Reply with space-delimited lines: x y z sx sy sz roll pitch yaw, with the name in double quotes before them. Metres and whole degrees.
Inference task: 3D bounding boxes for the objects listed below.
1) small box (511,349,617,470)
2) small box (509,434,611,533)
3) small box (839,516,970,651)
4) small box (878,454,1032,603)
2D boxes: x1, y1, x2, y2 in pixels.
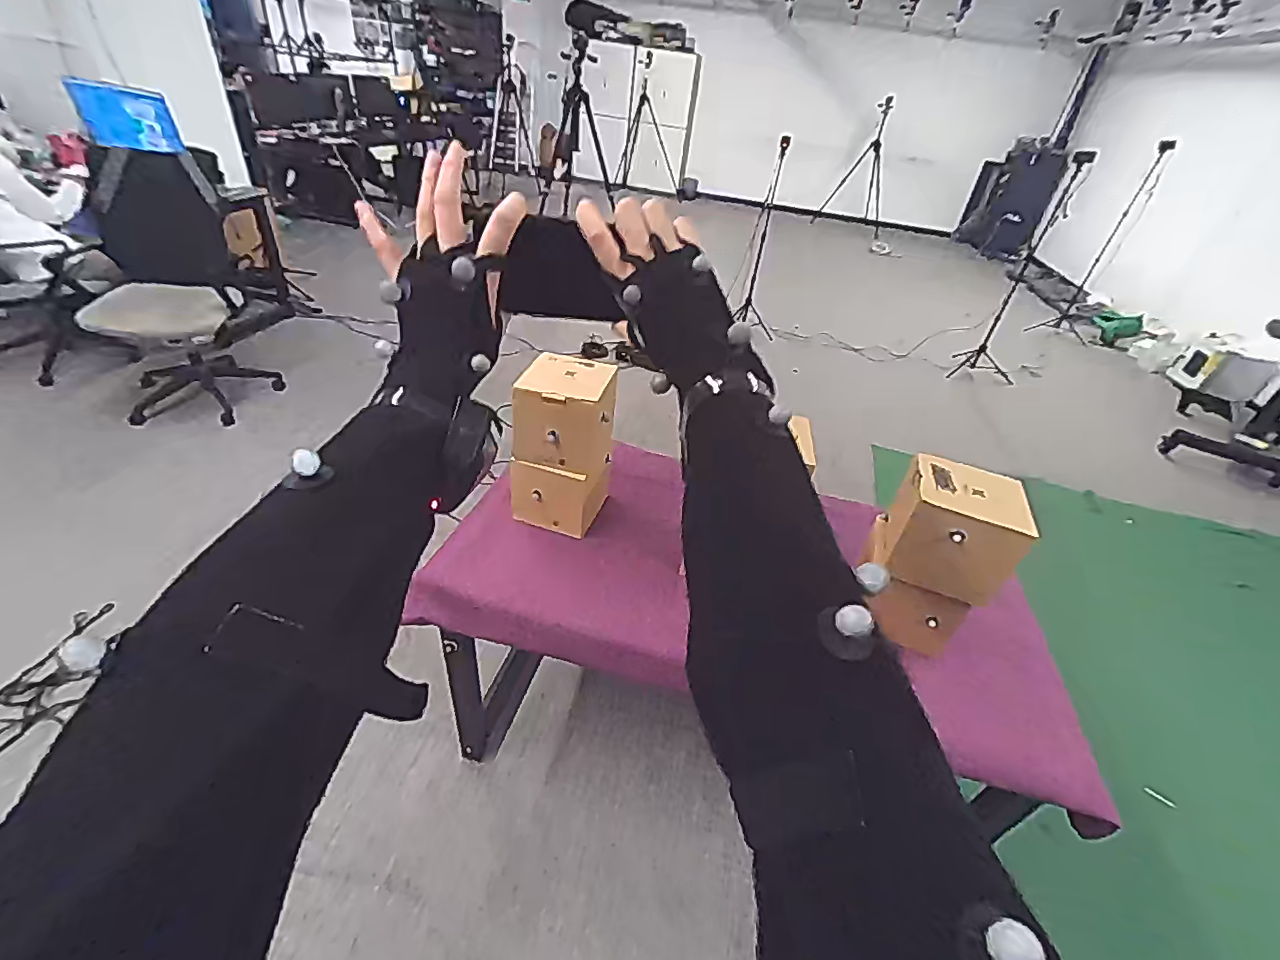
"small box" -0.153 -0.144 1.110 0.168 0.176 0.179 13 38 5
"small box" -0.174 -0.009 1.202 0.168 0.176 0.179 16 37 10
"small box" 0.510 0.204 1.054 0.179 0.176 0.168 19 38 15
"small box" 0.533 0.085 0.943 0.179 0.176 0.168 20 38 14
